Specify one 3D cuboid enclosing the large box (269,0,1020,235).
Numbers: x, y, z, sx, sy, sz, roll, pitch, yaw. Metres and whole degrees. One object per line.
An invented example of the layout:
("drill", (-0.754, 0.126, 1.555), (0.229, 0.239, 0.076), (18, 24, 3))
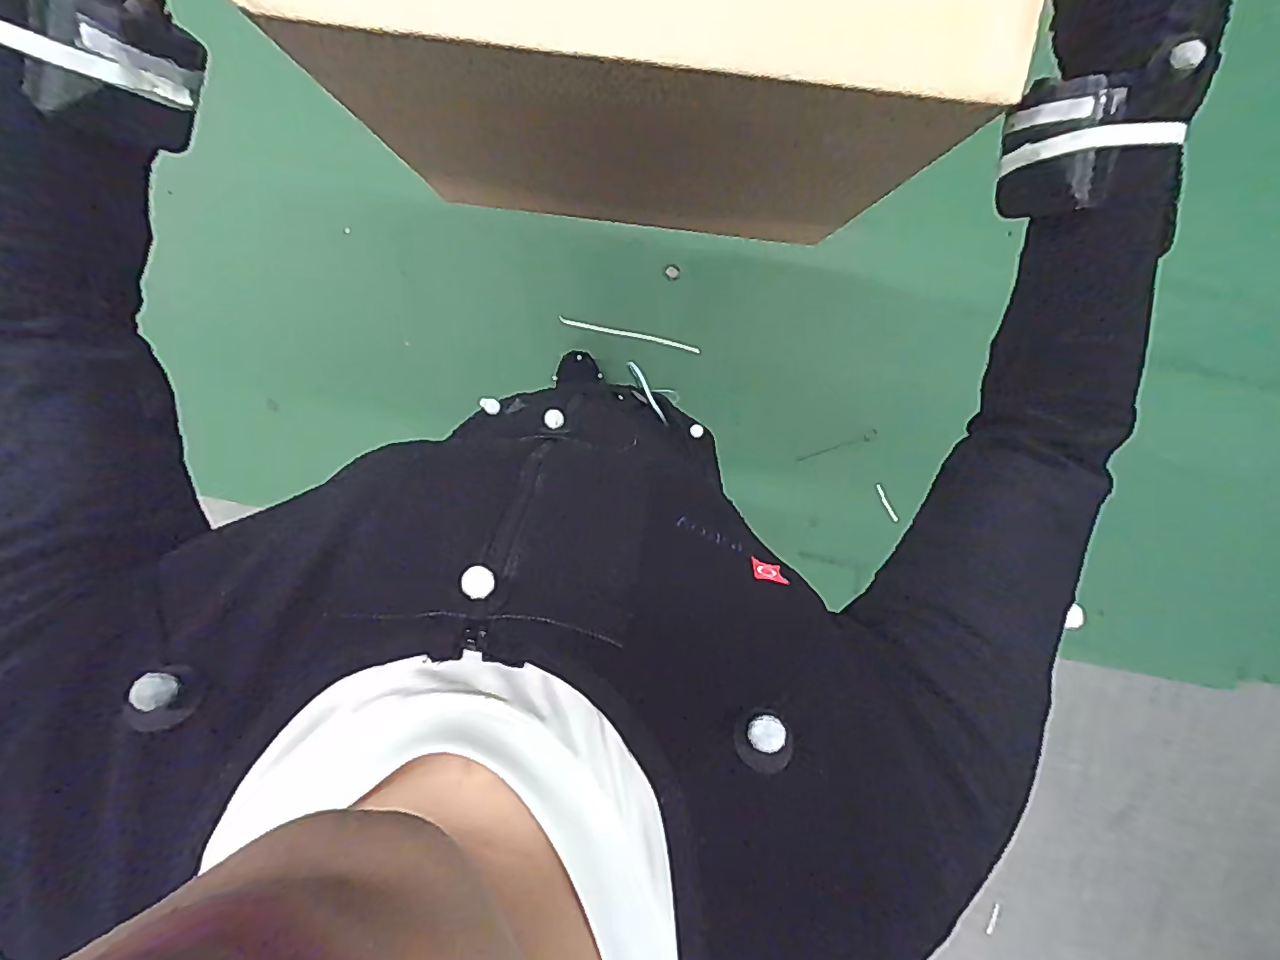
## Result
("large box", (0.011, -0.400, 0.408), (0.408, 0.320, 0.320), (5, 101, -2))
